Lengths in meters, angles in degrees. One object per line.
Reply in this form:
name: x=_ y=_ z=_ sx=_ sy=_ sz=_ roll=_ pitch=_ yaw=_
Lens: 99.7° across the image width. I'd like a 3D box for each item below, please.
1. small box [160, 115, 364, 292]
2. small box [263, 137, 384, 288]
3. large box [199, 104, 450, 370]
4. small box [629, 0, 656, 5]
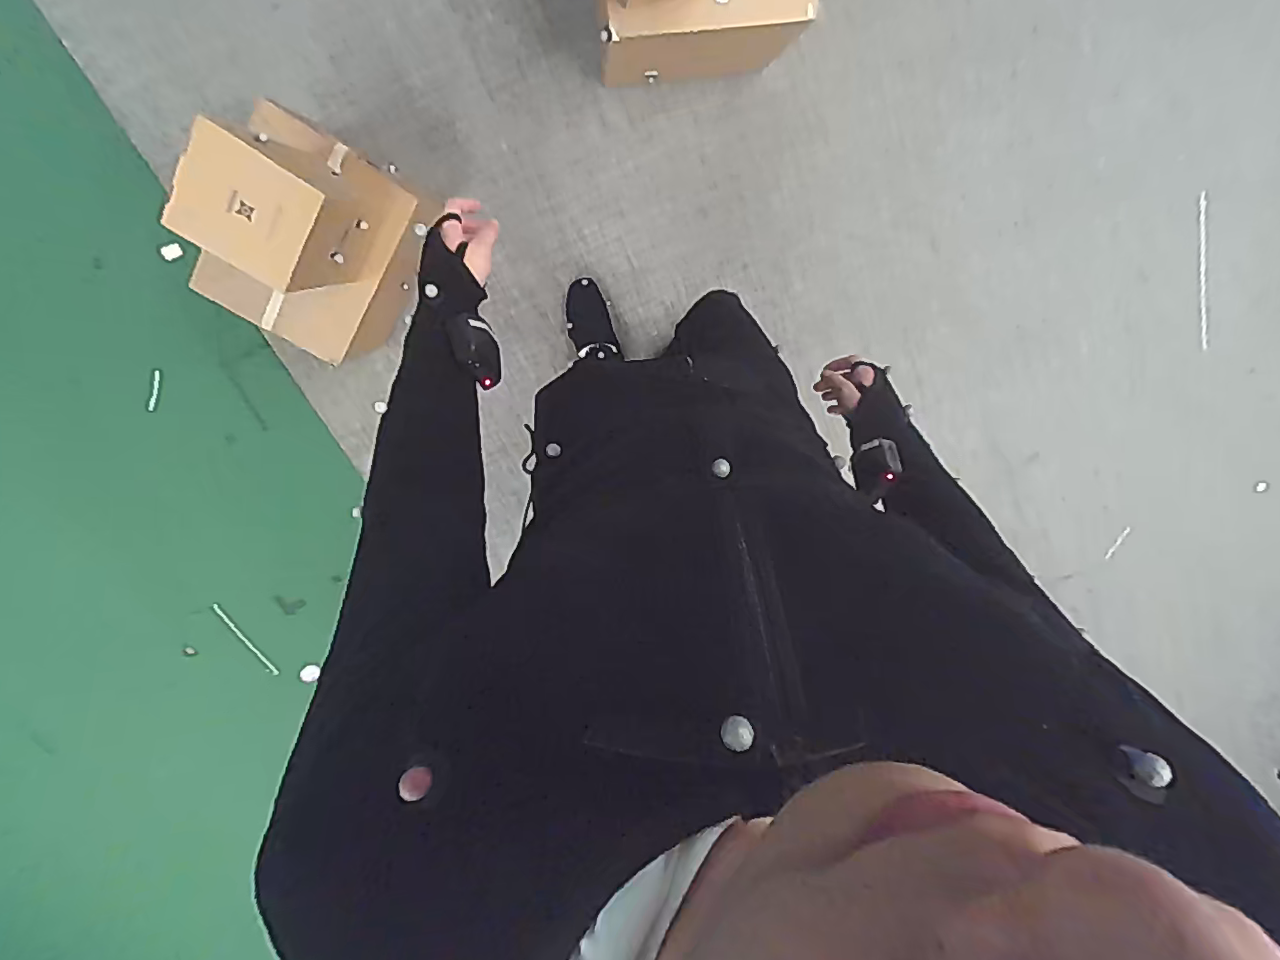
small box: x=-0.572 y=-0.415 z=0.841 sx=0.179 sy=0.176 sz=0.168 roll=31 pitch=106 yaw=-18
small box: x=-0.596 y=-0.478 z=0.989 sx=0.168 sy=0.176 sz=0.179 roll=29 pitch=106 yaw=-16
large box: x=-0.686 y=-0.527 z=1.227 sx=0.320 sy=0.320 sz=0.408 roll=30 pitch=107 yaw=-15
small box: x=0.041 y=-0.919 z=0.880 sx=0.168 sy=0.176 sz=0.179 roll=-15 pitch=114 yaw=-1
